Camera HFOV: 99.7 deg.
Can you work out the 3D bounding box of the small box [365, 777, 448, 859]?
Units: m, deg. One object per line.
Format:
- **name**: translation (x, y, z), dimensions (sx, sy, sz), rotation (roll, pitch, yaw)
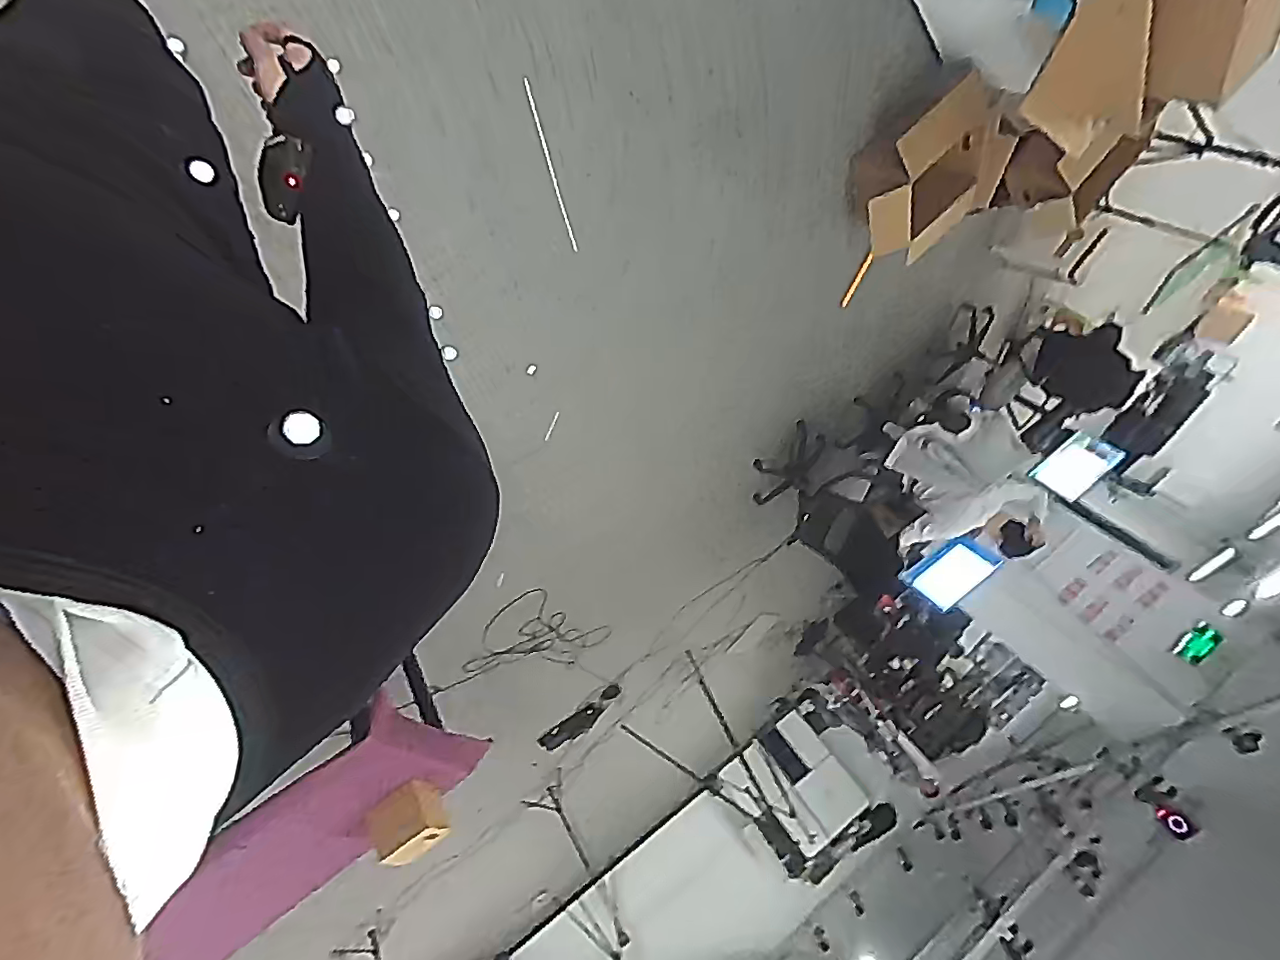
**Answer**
- **small box**: translation (-0.783, 1.129, 1.811), dimensions (0.179, 0.176, 0.168), rotation (-33, 144, -12)
